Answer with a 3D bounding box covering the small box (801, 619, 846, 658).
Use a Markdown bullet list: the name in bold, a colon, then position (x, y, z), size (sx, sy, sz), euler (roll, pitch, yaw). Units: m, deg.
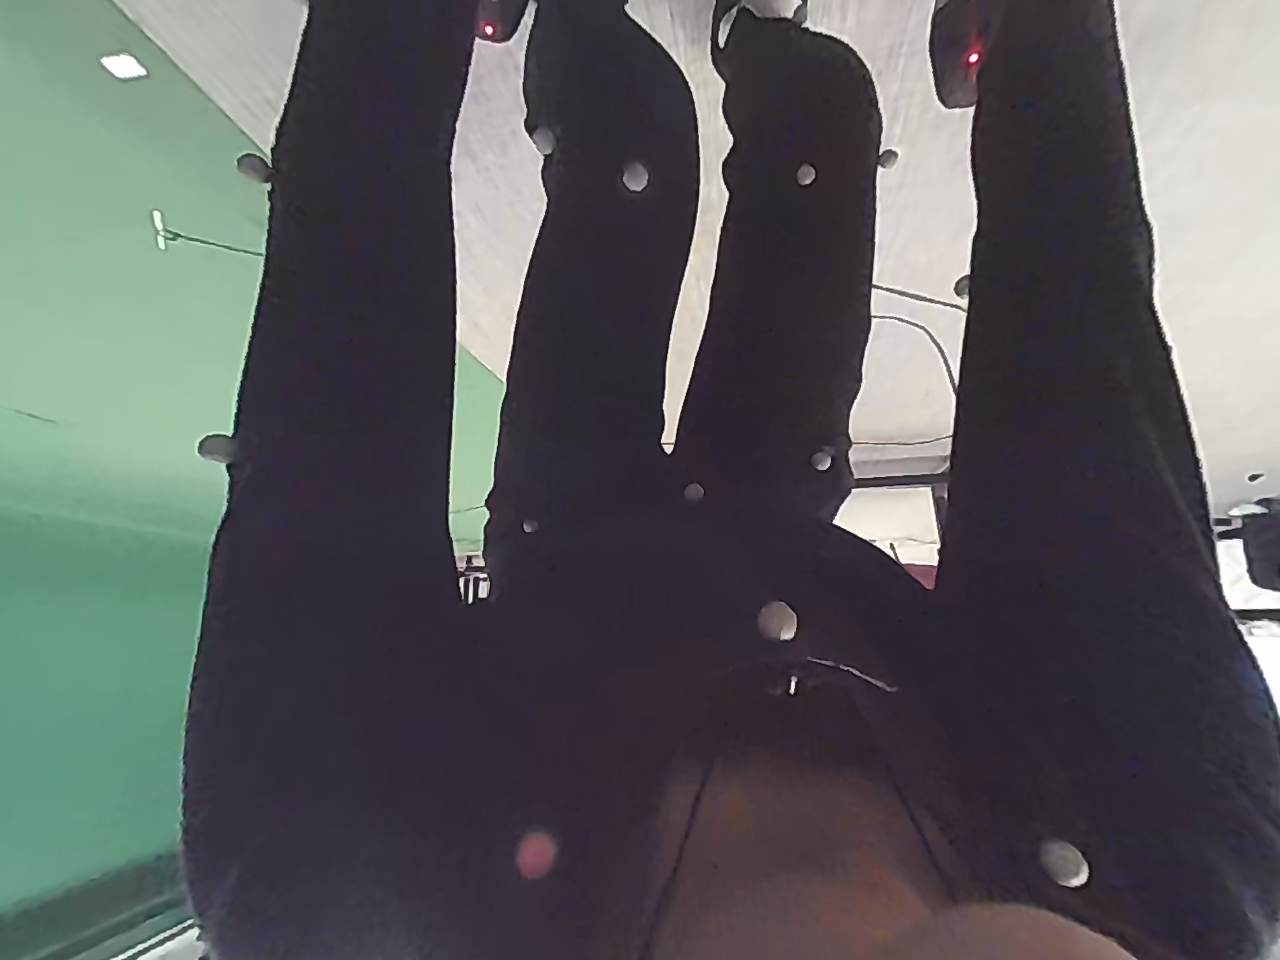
- **small box**: position (0.863, 0.752, 2.563), size (0.179, 0.176, 0.168), euler (-3, 165, 10)
